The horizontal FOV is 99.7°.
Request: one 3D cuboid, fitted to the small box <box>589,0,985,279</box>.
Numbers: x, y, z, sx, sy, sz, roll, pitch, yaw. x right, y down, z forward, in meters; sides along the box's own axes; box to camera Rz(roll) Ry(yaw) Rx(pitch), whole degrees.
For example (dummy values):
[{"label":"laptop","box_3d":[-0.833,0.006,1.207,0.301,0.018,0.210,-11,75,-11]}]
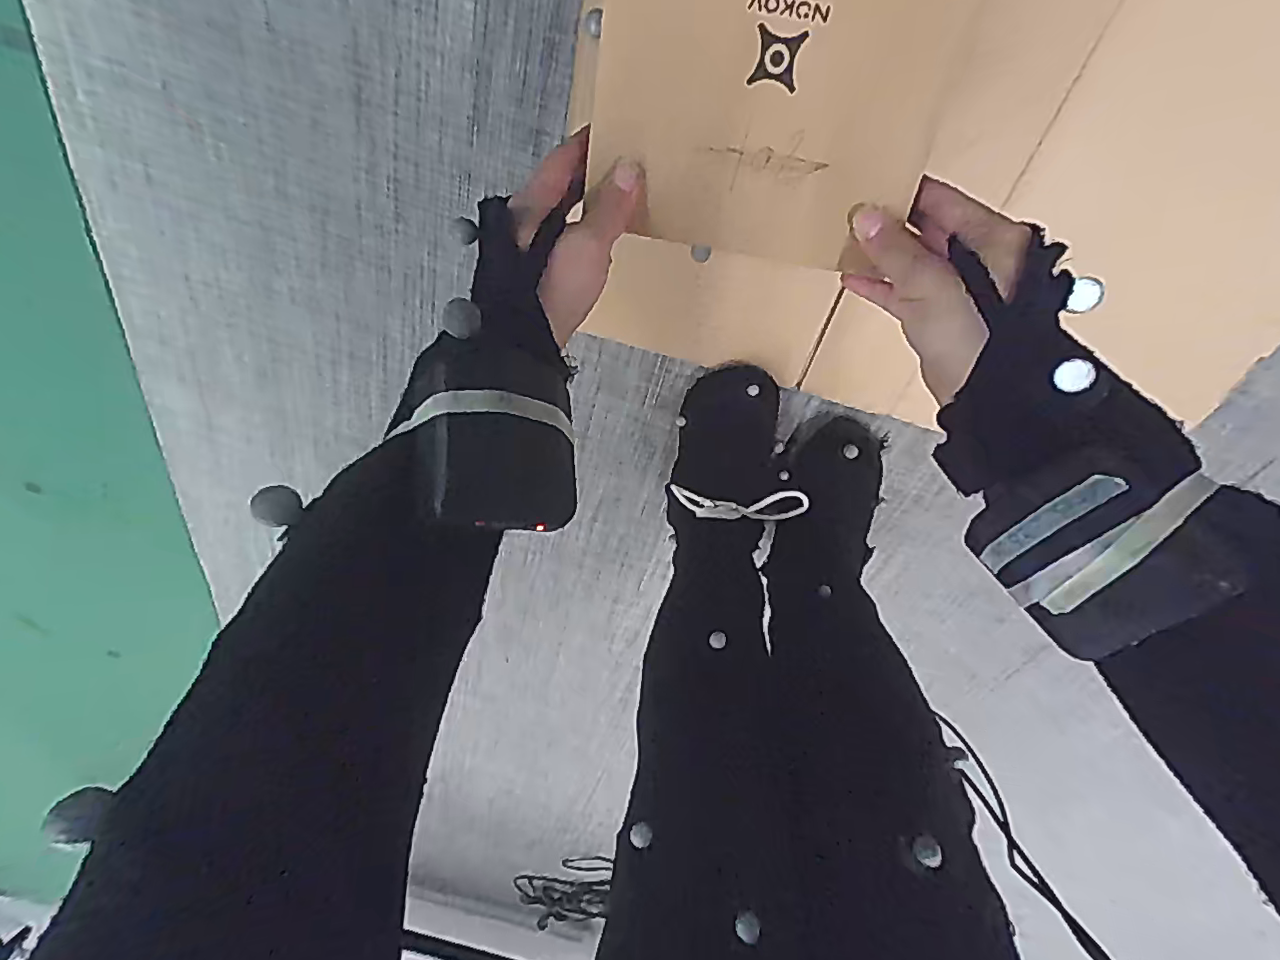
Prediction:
[{"label":"small box","box_3d":[0.072,-0.234,0.321,0.168,0.176,0.179,10,118,1]}]
